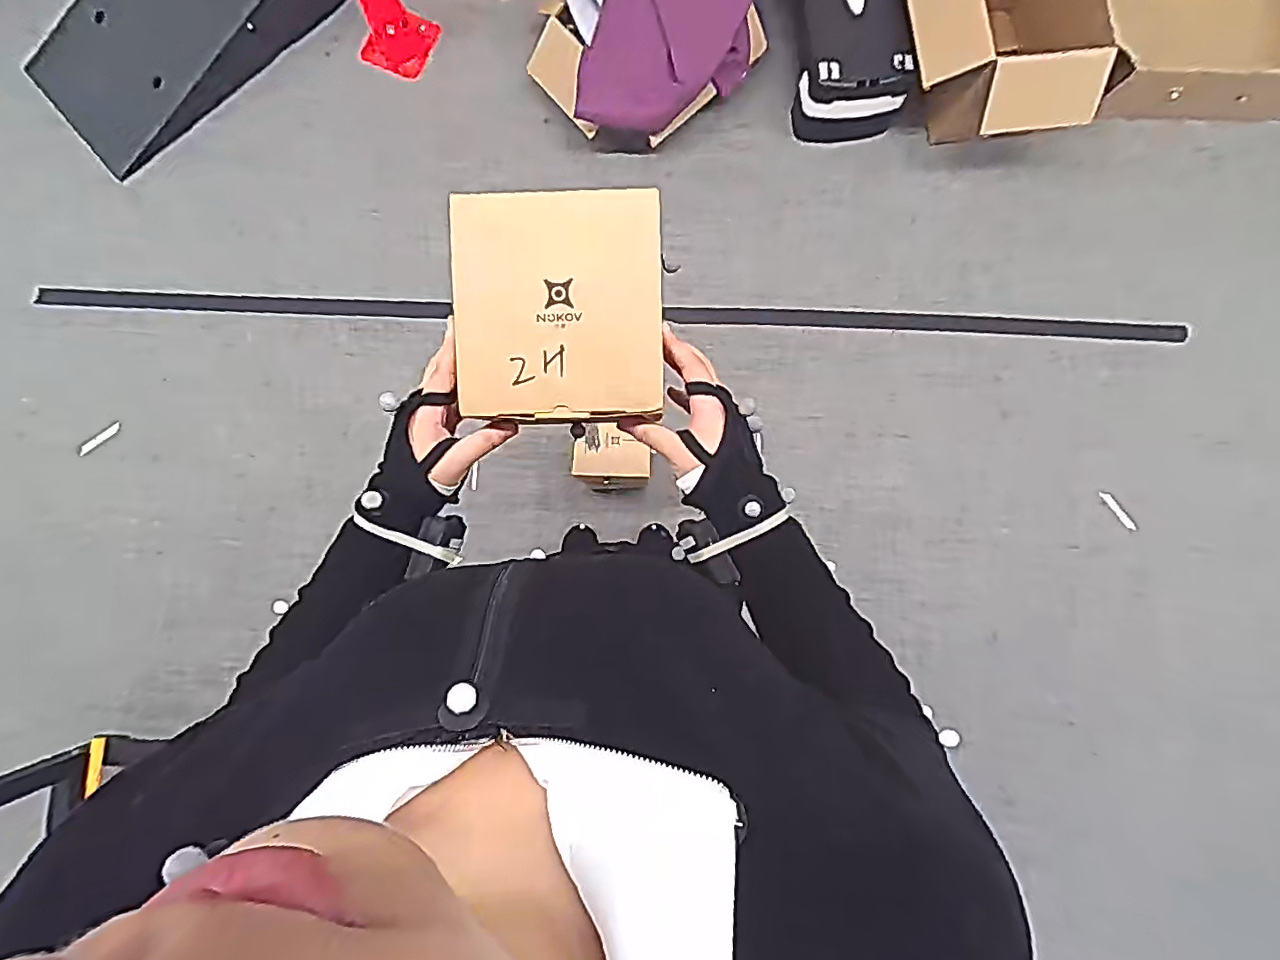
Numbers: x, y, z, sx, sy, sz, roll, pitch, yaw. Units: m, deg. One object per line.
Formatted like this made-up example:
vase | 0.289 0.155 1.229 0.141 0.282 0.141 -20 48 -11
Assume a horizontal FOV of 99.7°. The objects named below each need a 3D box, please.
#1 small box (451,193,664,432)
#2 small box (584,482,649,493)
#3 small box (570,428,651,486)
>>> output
small box | -0.063 -0.137 0.500 0.168 0.176 0.179 -1 93 2
small box | -0.063 -0.058 1.451 0.168 0.176 0.179 -3 86 1
small box | -0.064 -0.074 1.287 0.179 0.176 0.168 2 85 1
